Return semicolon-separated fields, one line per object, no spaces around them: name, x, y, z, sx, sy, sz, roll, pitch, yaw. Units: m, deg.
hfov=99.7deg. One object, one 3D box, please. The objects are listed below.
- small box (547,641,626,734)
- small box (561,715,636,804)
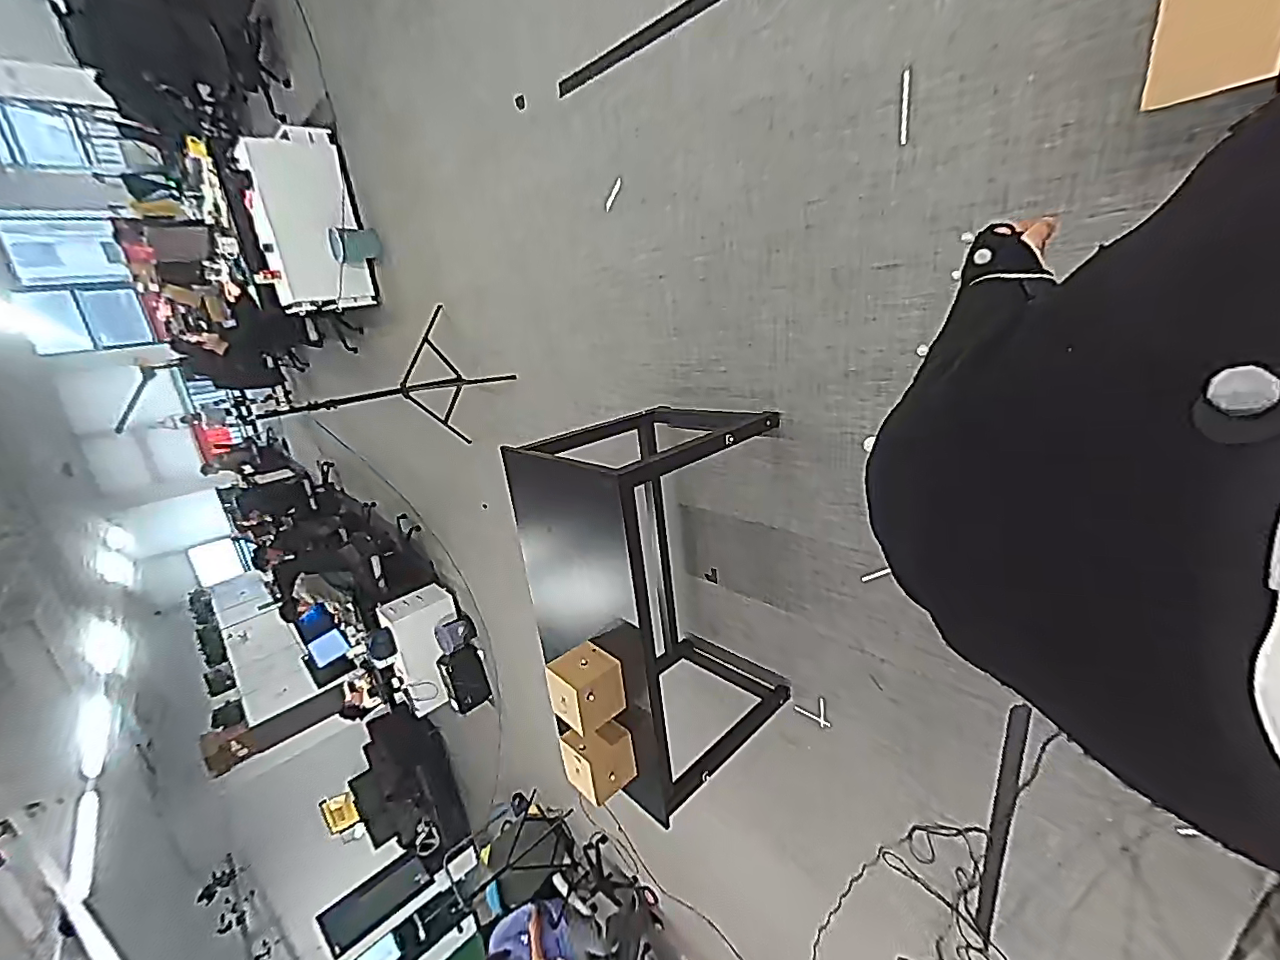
small box;-0.161;0.626;1.655;0.168;0.176;0.179;16;119;46
small box;-0.128;0.882;1.743;0.168;0.176;0.179;11;116;47
